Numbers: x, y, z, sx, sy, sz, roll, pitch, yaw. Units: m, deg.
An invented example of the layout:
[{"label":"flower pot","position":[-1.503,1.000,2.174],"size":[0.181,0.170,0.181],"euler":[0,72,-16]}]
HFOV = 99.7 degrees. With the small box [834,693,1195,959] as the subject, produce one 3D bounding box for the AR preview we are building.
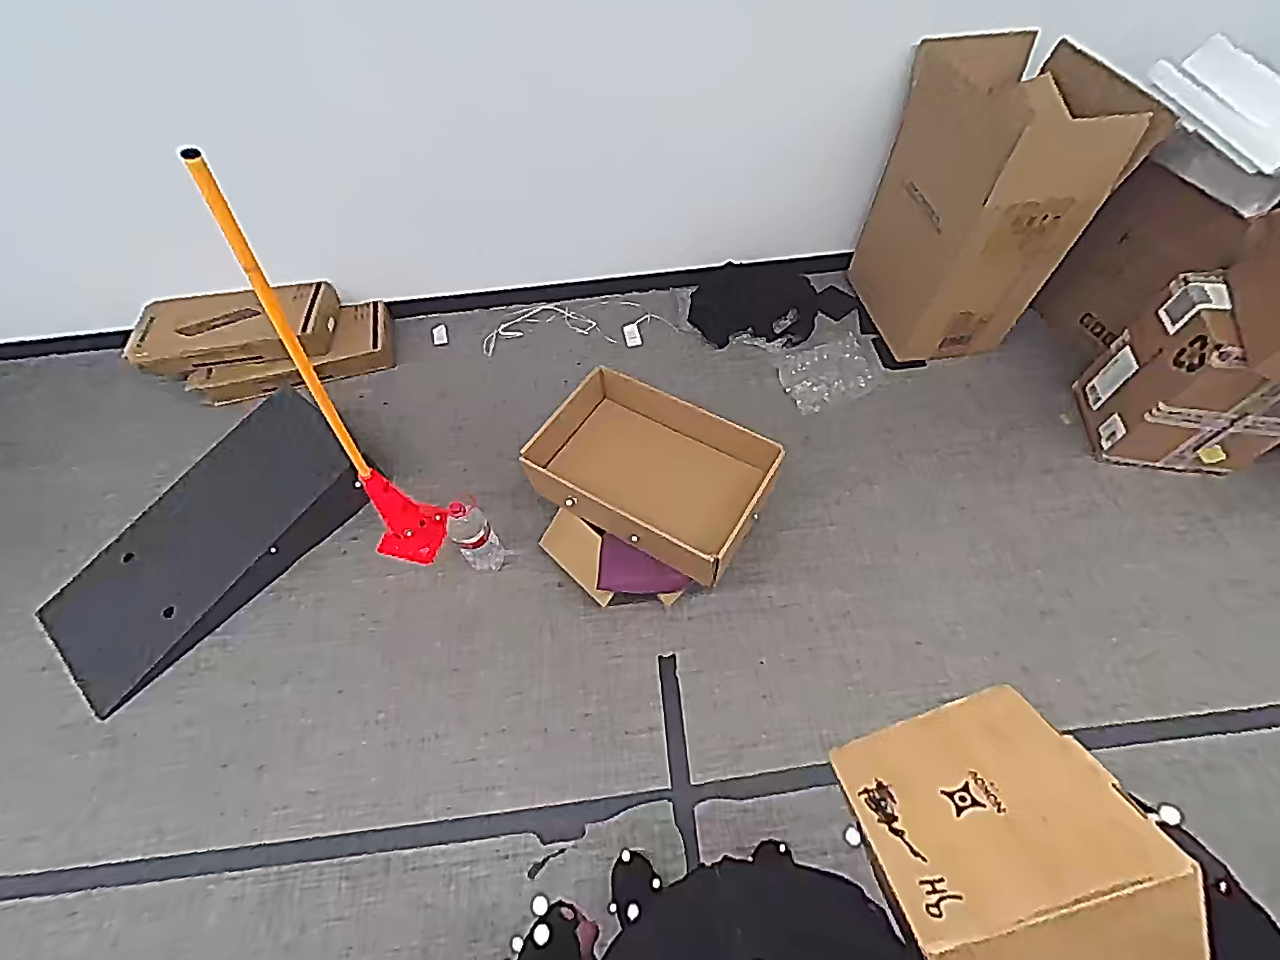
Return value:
[{"label":"small box","position":[0.292,0.319,0.445],"size":[0.179,0.176,0.168],"euler":[-23,17,5]}]
